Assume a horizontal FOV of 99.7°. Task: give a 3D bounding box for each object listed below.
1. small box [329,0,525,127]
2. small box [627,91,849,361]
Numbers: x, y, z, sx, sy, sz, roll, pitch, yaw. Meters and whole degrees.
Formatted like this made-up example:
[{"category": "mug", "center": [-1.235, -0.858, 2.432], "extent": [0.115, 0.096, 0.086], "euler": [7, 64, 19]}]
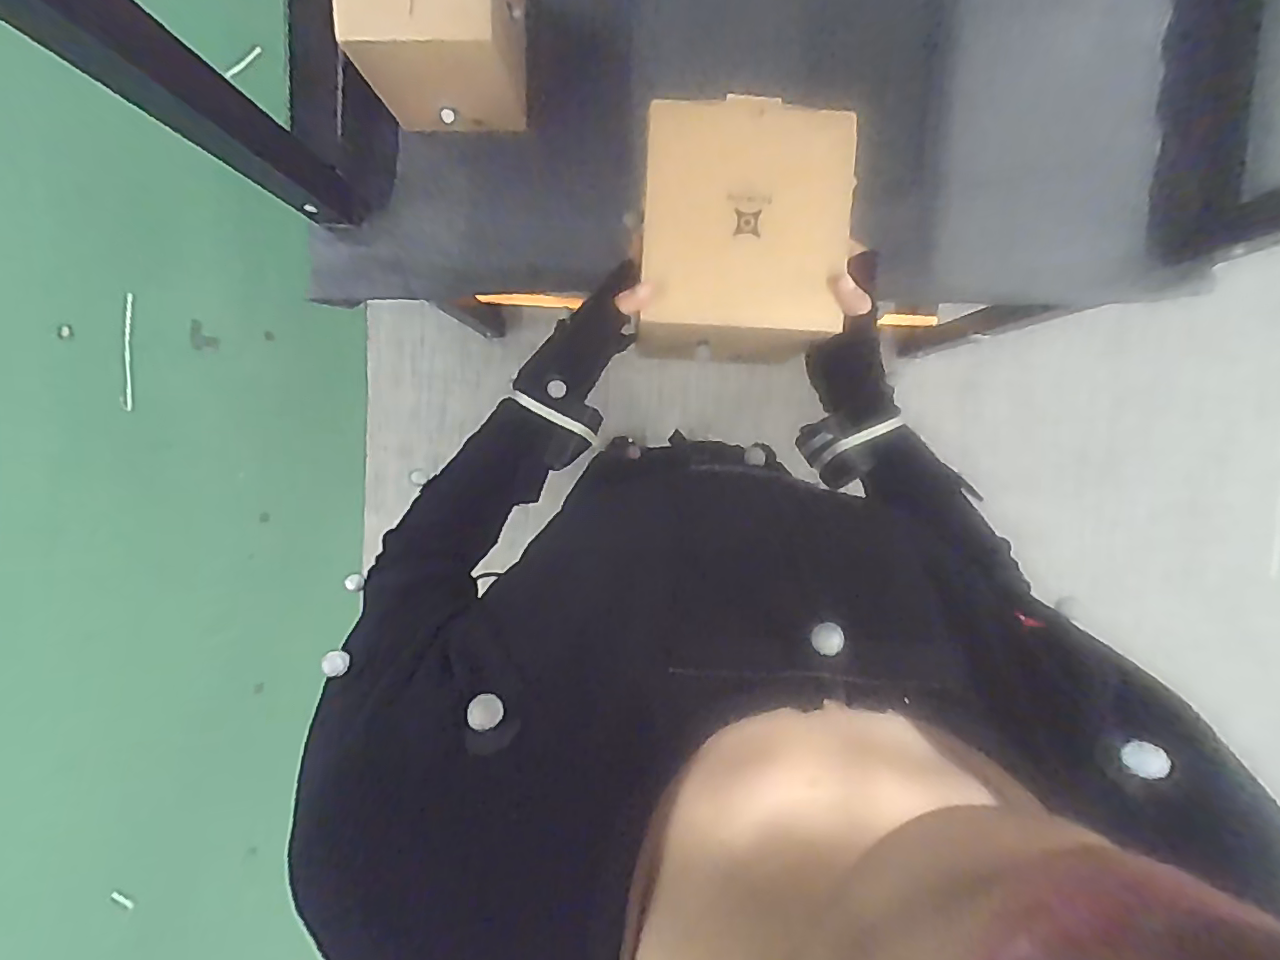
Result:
[{"category": "small box", "center": [-0.234, -0.549, 0.627], "extent": [0.168, 0.176, 0.179], "euler": [1, 95, 1]}, {"category": "small box", "center": [0.076, -0.214, 0.503], "extent": [0.168, 0.176, 0.179], "euler": [3, 91, -1]}]
